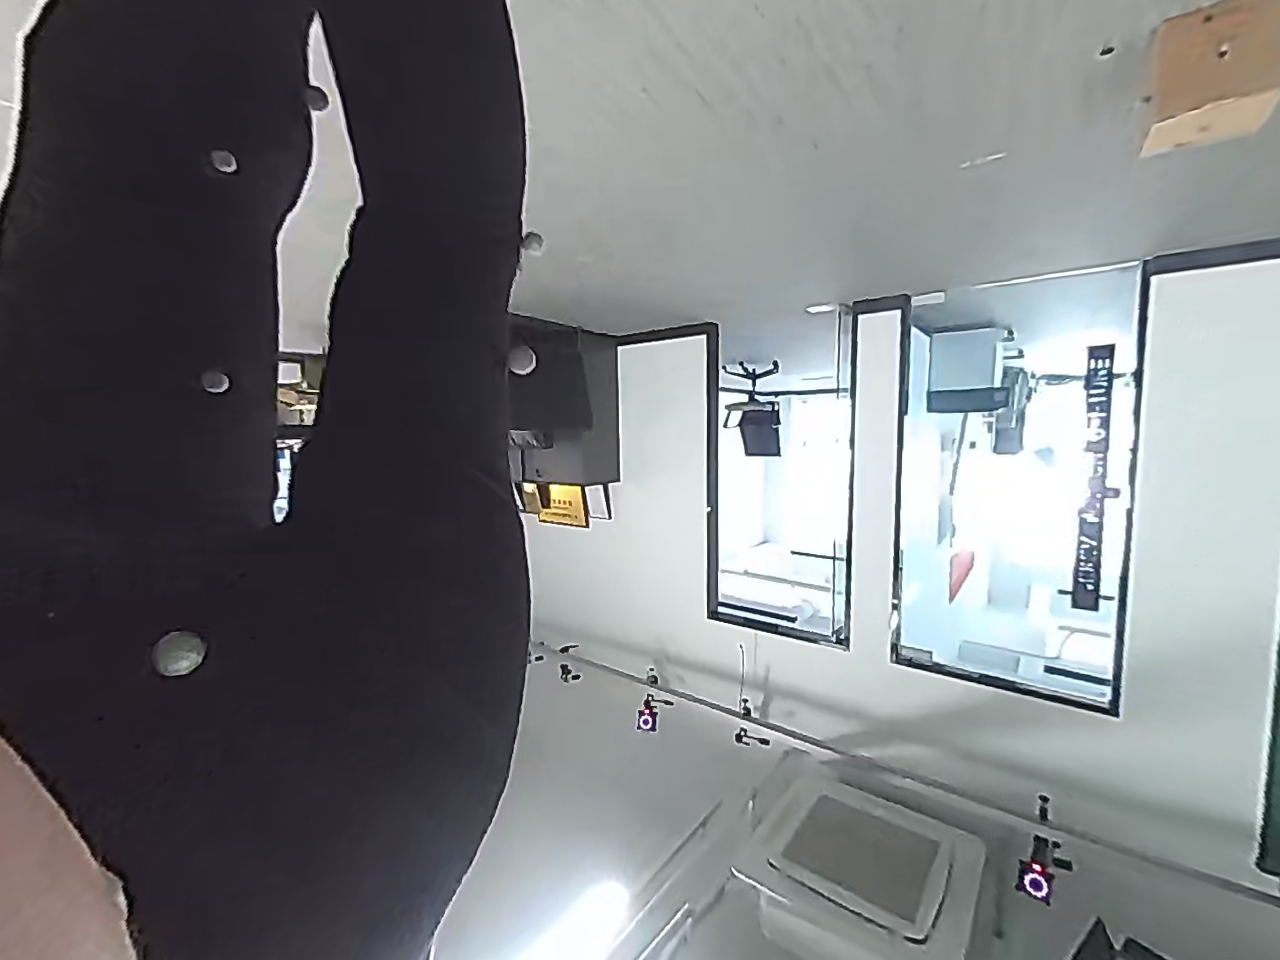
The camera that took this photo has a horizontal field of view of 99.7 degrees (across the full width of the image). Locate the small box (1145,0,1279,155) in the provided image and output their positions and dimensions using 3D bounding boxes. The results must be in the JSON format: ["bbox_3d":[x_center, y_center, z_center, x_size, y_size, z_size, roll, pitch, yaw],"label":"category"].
[{"bbox_3d":[1.035,-0.729,0.970,0.168,0.176,0.179,3,-174,35],"label":"small box"}]
